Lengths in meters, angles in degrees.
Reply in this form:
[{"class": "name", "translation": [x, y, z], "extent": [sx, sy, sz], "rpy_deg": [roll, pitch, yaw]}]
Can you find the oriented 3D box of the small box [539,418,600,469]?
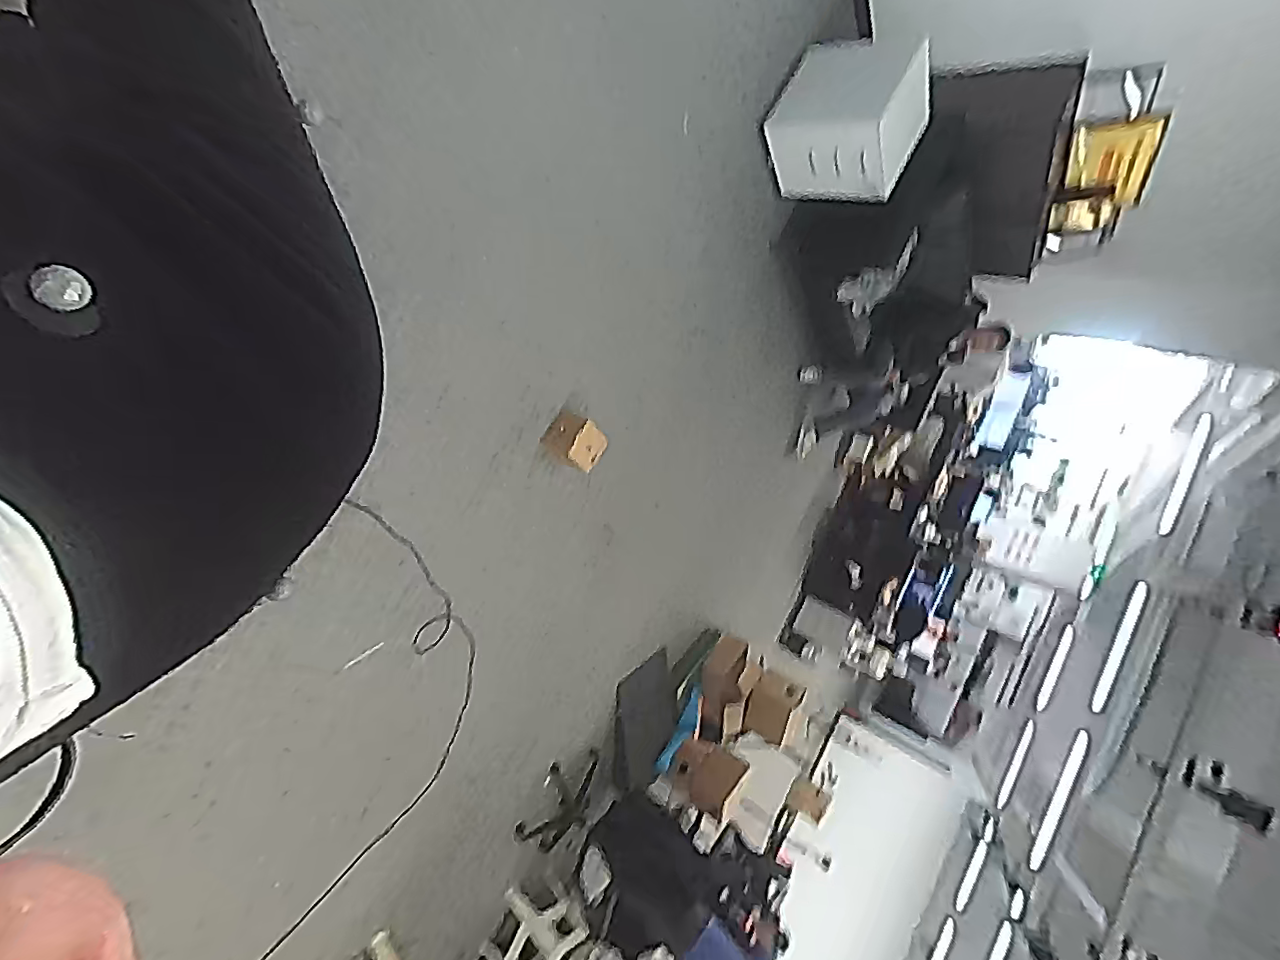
[{"class": "small box", "translation": [-0.292, -0.150, 2.221], "extent": [0.168, 0.176, 0.179], "rpy_deg": [-3, 110, -56]}]
